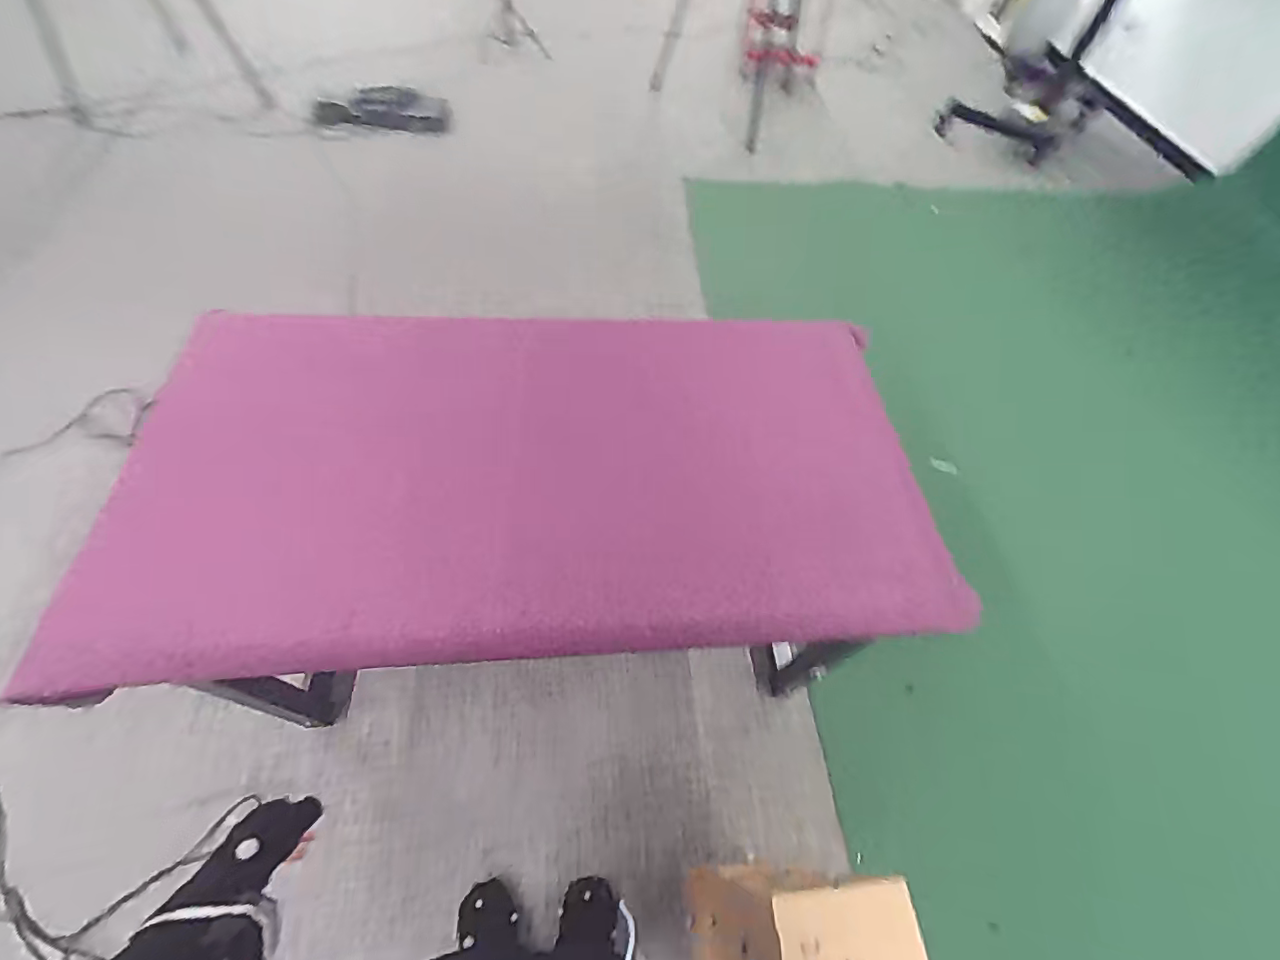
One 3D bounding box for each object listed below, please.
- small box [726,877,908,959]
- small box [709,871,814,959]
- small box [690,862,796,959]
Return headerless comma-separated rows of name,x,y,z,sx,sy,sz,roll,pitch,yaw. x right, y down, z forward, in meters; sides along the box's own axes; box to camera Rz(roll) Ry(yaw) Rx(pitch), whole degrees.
small box,0.223,0.618,0.687,0.179,0.176,0.168,-1,57,-7
small box,0.206,0.711,0.822,0.168,0.176,0.179,2,57,-6
small box,0.186,0.792,0.962,0.168,0.176,0.179,3,56,-5
